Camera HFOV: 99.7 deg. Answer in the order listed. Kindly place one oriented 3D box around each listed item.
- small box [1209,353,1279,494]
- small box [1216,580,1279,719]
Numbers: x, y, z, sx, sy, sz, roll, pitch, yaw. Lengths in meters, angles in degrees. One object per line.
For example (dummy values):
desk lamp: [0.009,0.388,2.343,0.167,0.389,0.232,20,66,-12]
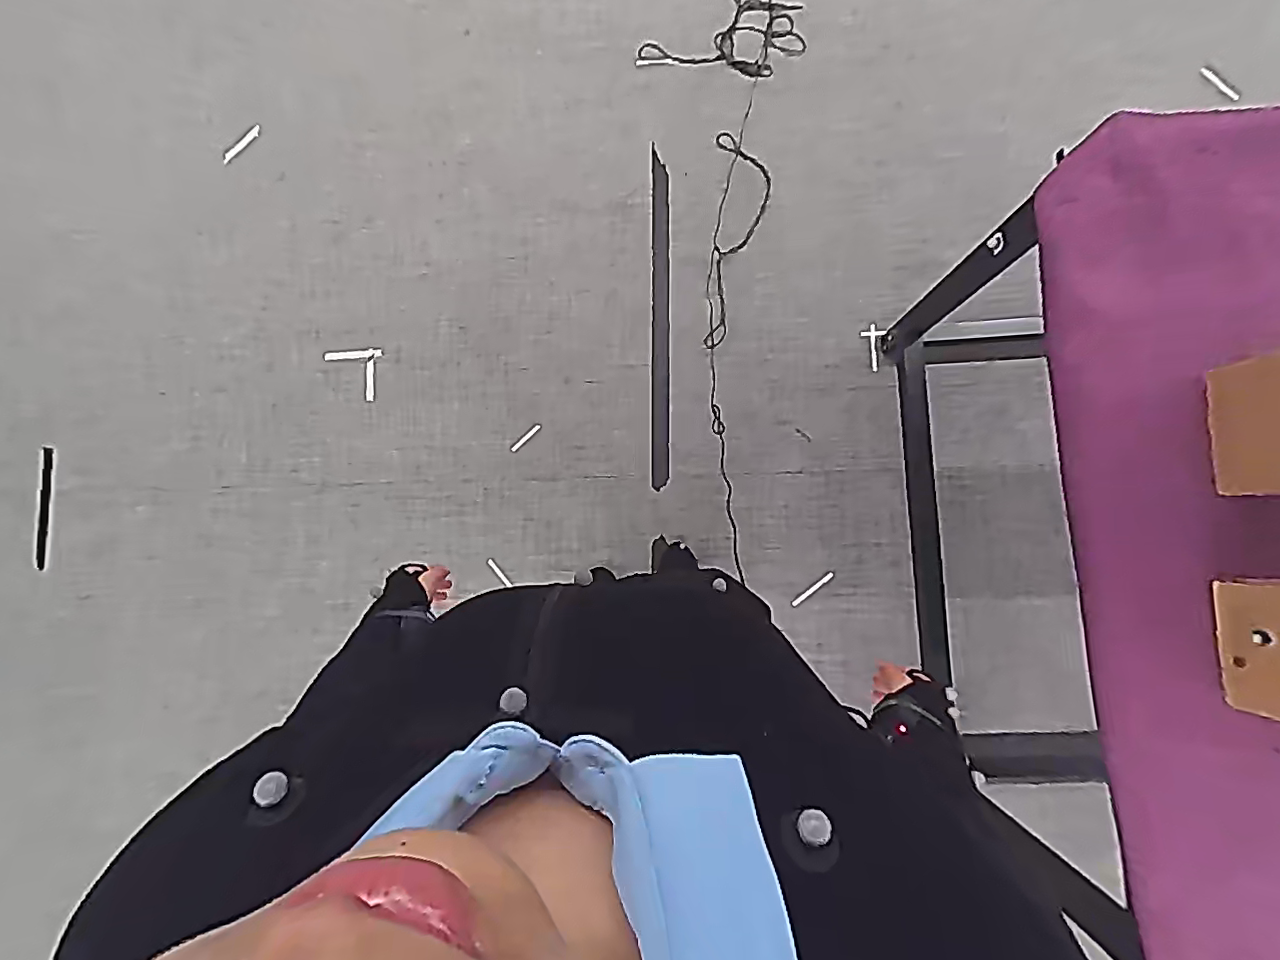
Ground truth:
small box: [0.872,-0.072,0.668,0.168,0.176,0.179,0,85,2]
small box: [0.861,0.209,0.642,0.179,0.176,0.168,0,84,2]
